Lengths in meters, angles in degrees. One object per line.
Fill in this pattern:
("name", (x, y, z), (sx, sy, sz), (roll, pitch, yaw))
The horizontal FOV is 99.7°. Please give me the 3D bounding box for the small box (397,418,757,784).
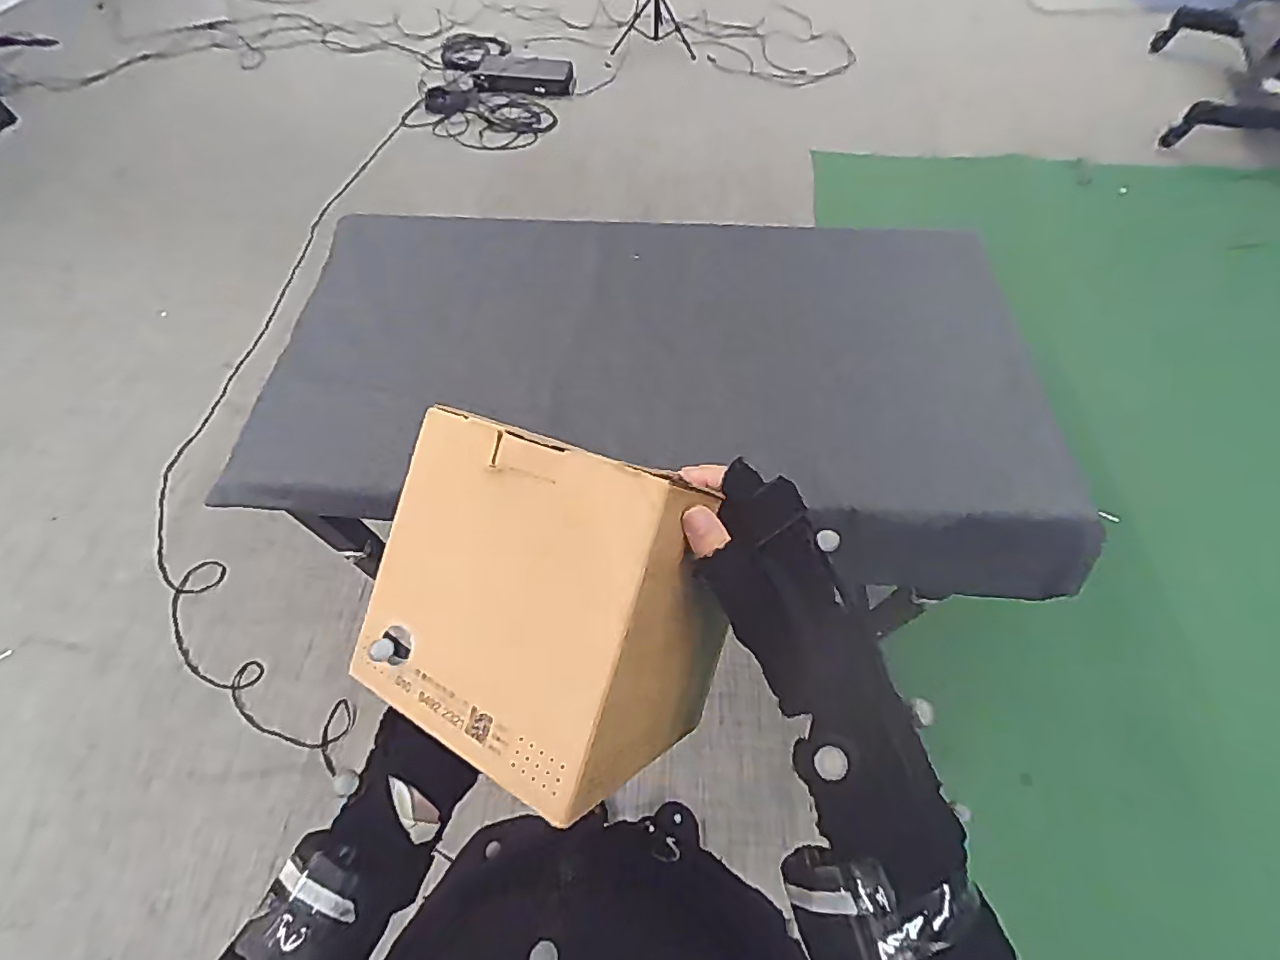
("small box", (-0.040, 0.071, 0.373), (0.168, 0.179, 0.176), (17, 90, 28))
